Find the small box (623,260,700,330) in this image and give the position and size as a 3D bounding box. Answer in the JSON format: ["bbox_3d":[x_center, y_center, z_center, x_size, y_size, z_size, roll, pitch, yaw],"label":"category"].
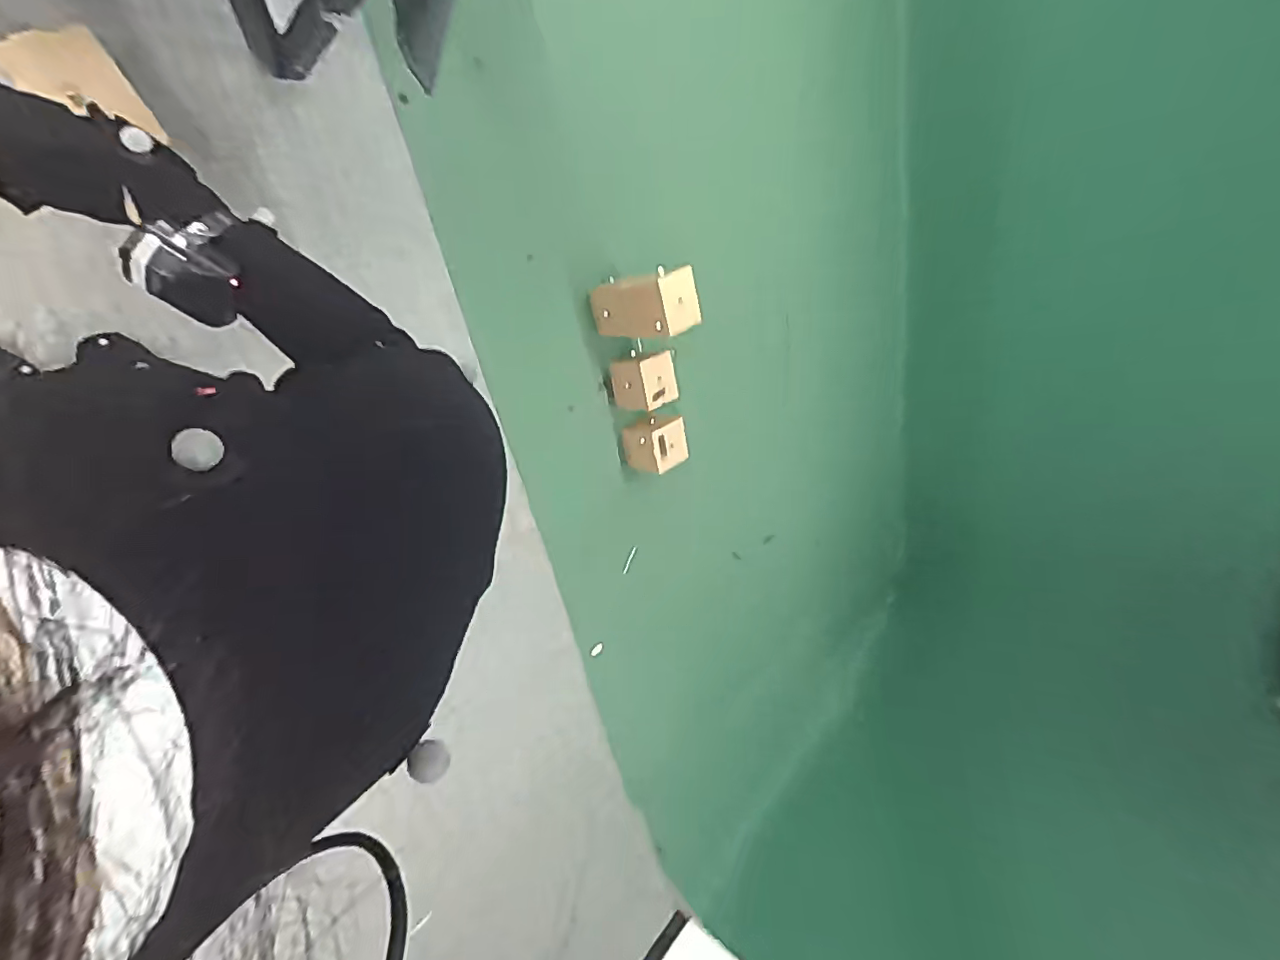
[{"bbox_3d":[0.066,-0.593,1.751,0.168,0.176,0.179,-36,124,-34],"label":"small box"}]

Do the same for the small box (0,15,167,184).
[{"bbox_3d":[-0.969,-0.641,0.926,0.168,0.176,0.179,-44,127,-28],"label":"small box"}]

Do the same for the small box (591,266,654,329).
[{"bbox_3d":[-0.049,-0.625,1.862,0.179,0.176,0.168,-34,122,-34],"label":"small box"}]
